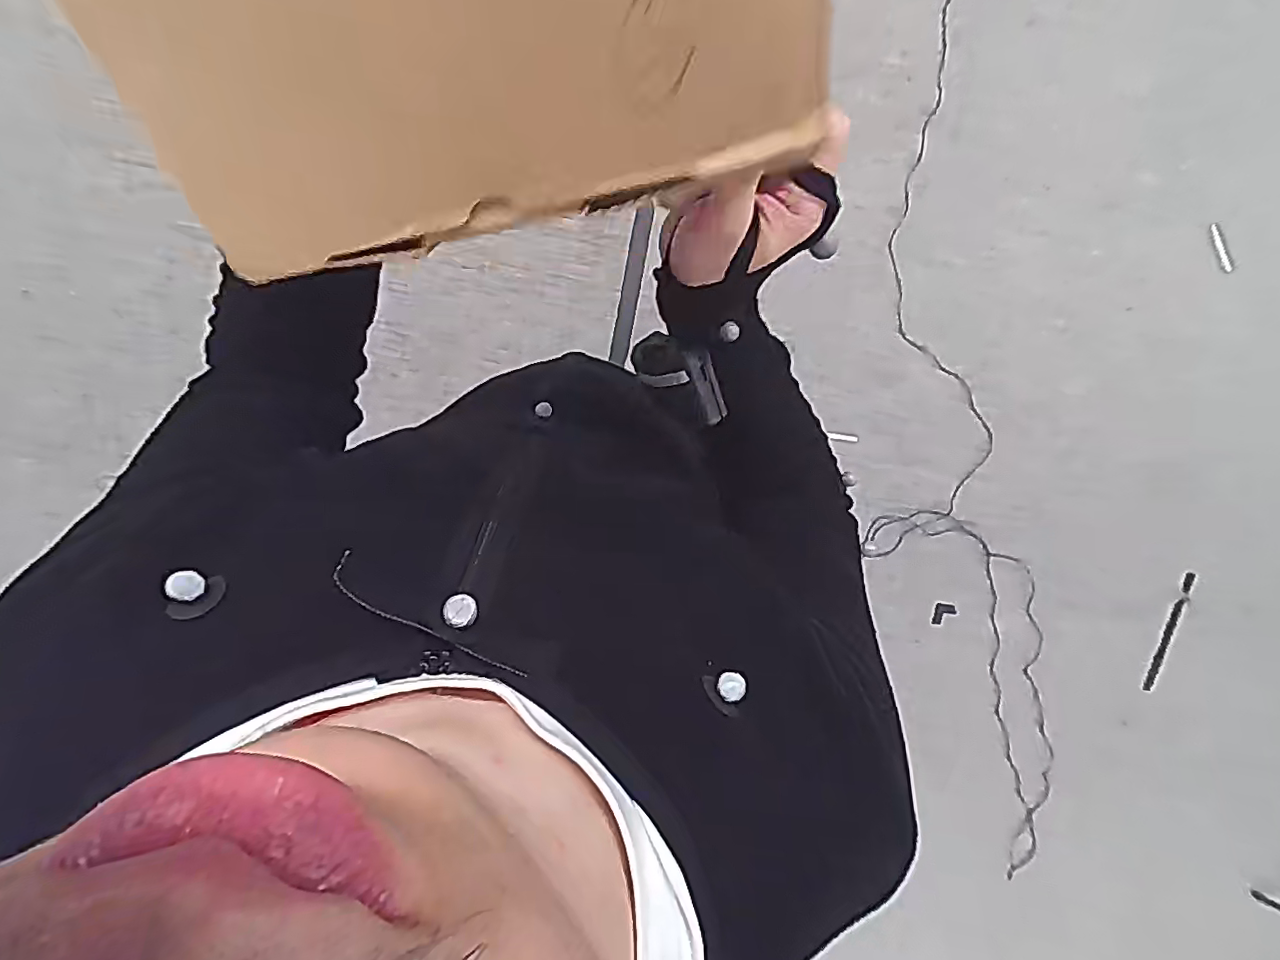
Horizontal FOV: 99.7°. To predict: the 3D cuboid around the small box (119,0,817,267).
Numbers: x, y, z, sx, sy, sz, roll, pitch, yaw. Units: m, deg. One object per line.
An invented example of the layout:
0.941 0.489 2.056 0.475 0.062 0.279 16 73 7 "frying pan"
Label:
-0.043 -0.190 0.168 0.168 0.176 0.179 -7 123 13 "small box"
